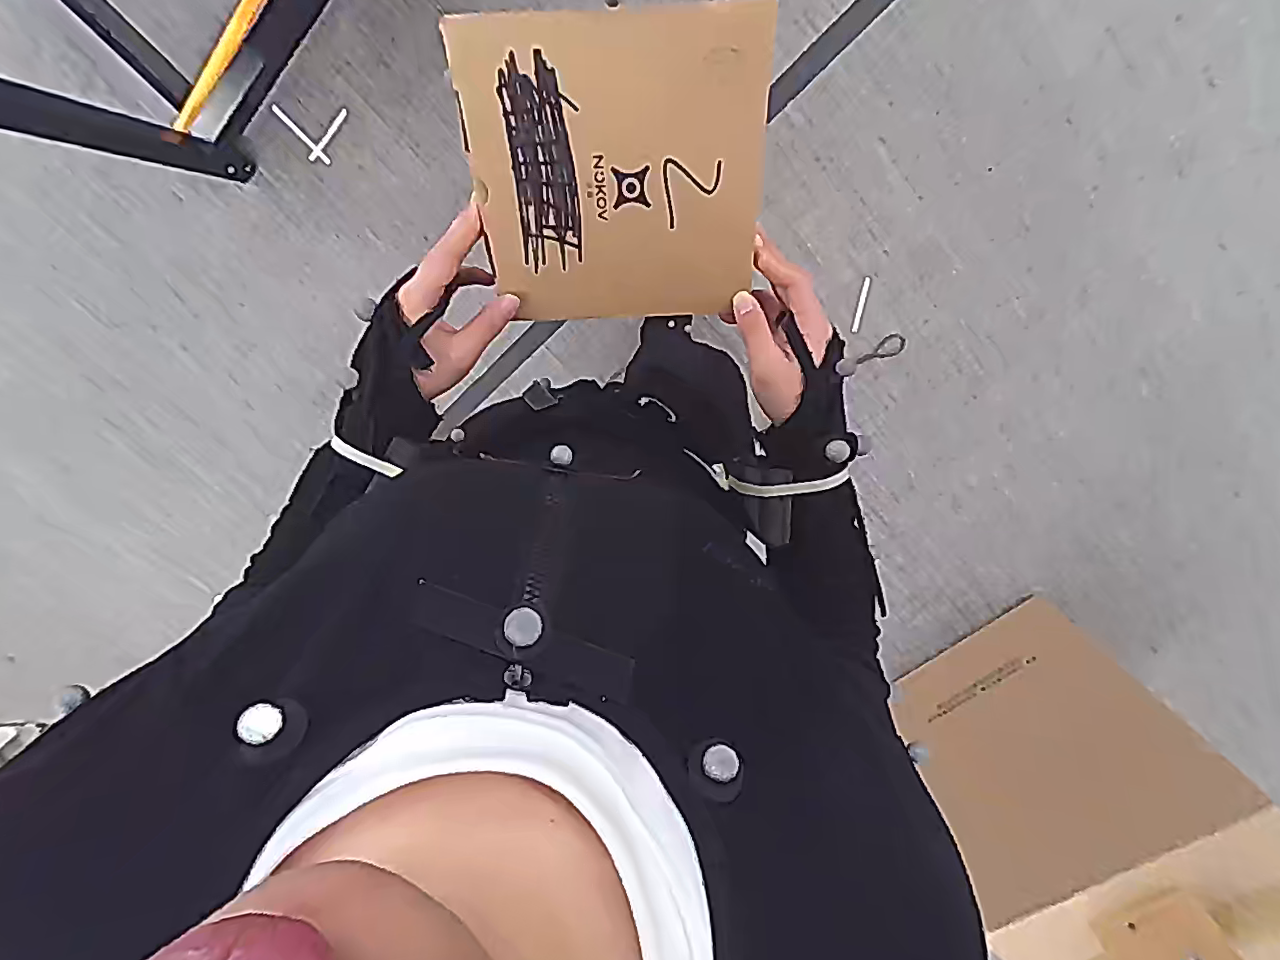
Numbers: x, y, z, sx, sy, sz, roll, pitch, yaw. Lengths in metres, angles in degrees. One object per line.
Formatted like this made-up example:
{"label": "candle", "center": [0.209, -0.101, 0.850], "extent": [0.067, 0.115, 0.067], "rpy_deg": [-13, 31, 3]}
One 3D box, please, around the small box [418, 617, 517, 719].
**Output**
{"label": "small box", "center": [-0.473, 0.520, 1.512], "extent": [0.179, 0.176, 0.168], "rpy_deg": [-33, 105, 13]}

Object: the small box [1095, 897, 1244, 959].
{"label": "small box", "center": [0.896, 0.817, 0.866], "extent": [0.168, 0.176, 0.179], "rpy_deg": [-40, 103, 15]}
